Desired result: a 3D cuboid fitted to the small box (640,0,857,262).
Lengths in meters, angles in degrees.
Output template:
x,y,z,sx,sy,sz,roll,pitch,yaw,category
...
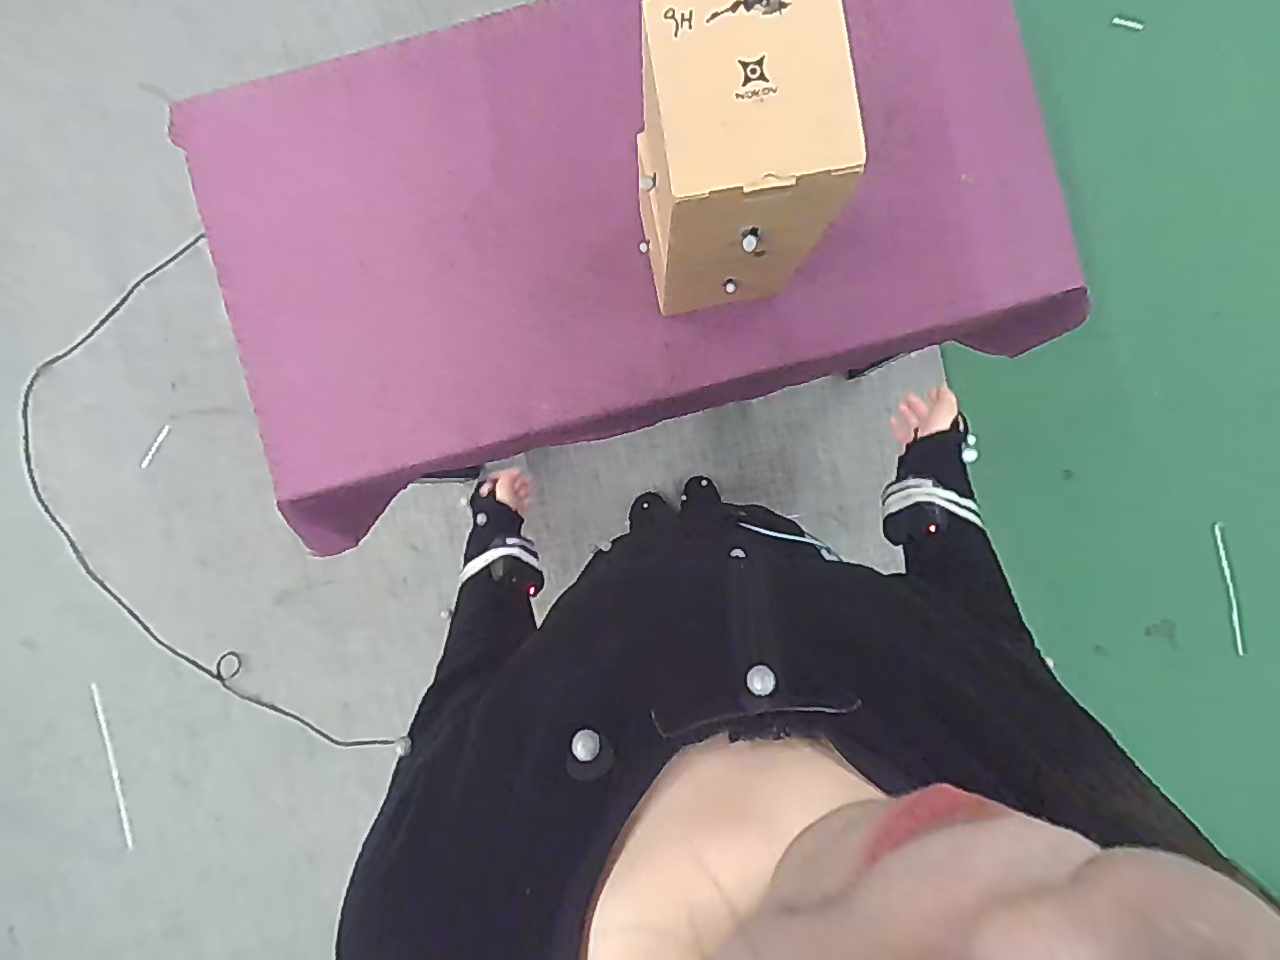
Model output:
x,y,z,sx,sy,sz,roll,pitch,yaw,category
0.094,-0.332,0.534,0.168,0.176,0.179,-8,91,1,small box
